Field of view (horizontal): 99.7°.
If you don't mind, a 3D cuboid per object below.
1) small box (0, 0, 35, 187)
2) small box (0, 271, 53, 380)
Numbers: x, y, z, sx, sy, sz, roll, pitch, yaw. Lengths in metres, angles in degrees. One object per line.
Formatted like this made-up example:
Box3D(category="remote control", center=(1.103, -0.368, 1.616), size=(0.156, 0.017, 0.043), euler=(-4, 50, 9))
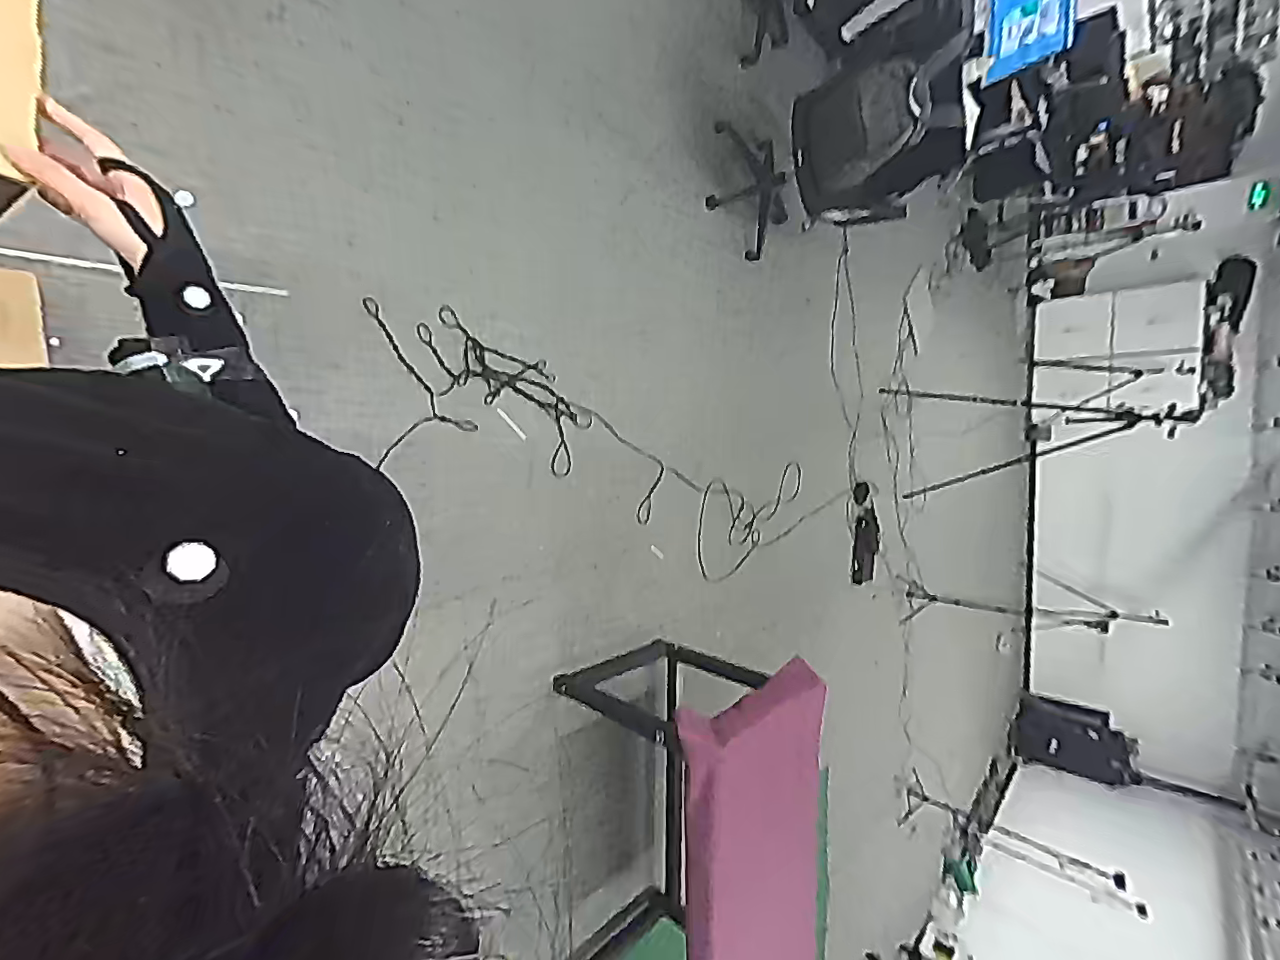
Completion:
Box3D(category="small box", center=(-0.521, -0.282, 0.330), size=(0.179, 0.176, 0.168), euler=(3, 89, -59))
Box3D(category="small box", center=(-1.140, -0.263, 0.921), size=(0.179, 0.176, 0.168), euler=(-6, 96, -46))
